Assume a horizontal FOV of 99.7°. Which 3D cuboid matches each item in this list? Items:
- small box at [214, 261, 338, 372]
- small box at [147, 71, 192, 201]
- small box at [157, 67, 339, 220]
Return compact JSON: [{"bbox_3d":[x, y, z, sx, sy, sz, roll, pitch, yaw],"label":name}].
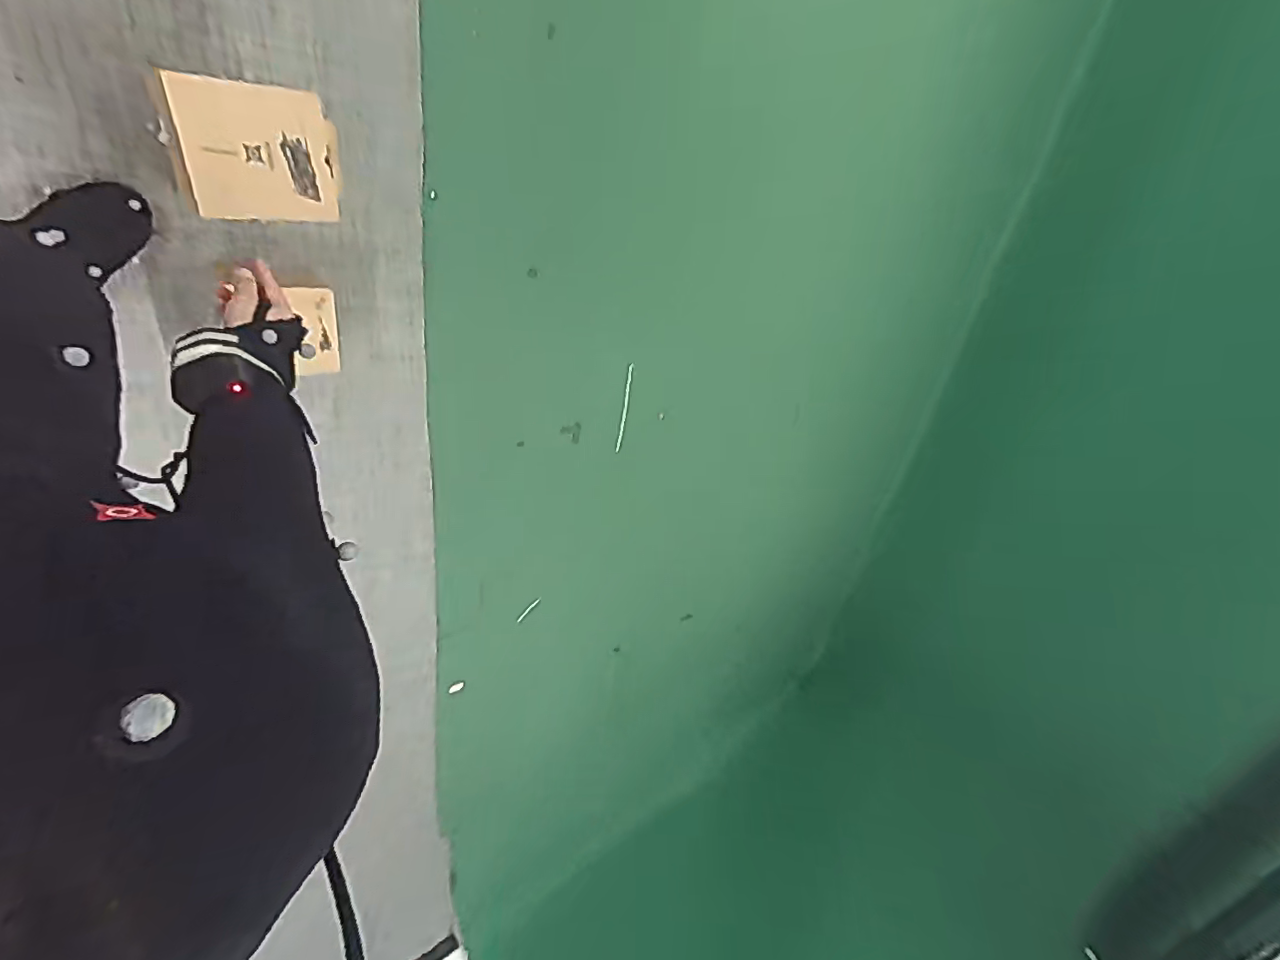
[{"bbox_3d":[-0.699,-0.314,1.039,0.179,0.176,0.168,-11,126,-37],"label":"small box"},{"bbox_3d":[-0.673,-0.556,0.889,0.179,0.176,0.168,-17,127,-35],"label":"small box"},{"bbox_3d":[-0.566,-0.484,0.787,0.179,0.176,0.168,-17,128,-35],"label":"small box"}]
